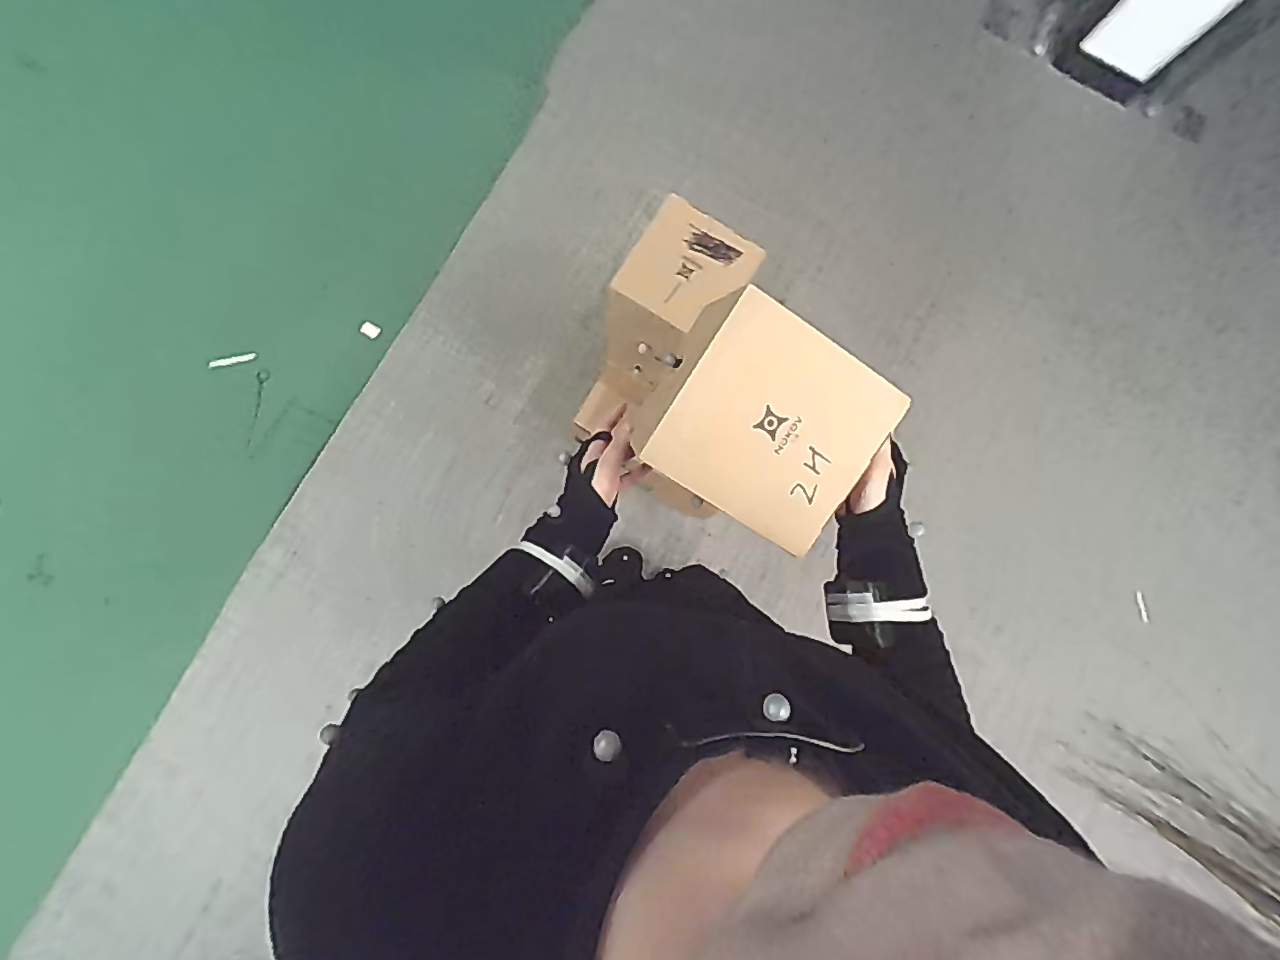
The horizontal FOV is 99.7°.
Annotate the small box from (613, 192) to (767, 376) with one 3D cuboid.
[{"bbox_3d":[0.065,-0.295,0.848,0.168,0.176,0.179,32,82,0],"label":"small box"}]

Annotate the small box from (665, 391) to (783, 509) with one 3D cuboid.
[{"bbox_3d":[0.168,-0.056,1.153,0.168,0.176,0.179,34,80,0],"label":"small box"}]

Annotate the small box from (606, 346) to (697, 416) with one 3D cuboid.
[{"bbox_3d":[0.040,-0.263,1.173,0.168,0.176,0.179,32,80,0],"label":"small box"}]

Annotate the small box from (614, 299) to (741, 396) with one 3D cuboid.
[{"bbox_3d":[0.059,-0.285,1.011,0.168,0.176,0.179,32,83,0],"label":"small box"}]
